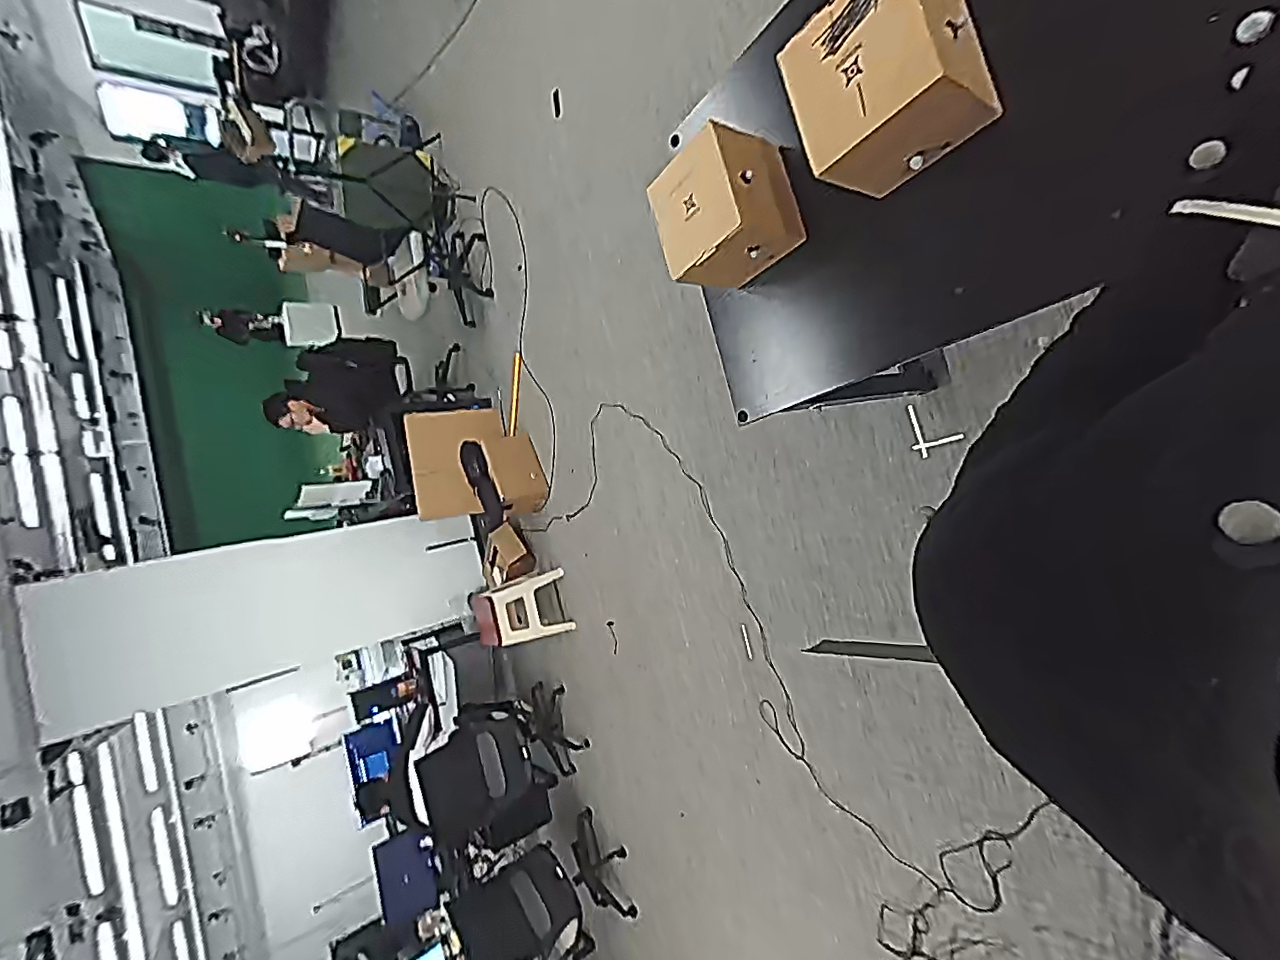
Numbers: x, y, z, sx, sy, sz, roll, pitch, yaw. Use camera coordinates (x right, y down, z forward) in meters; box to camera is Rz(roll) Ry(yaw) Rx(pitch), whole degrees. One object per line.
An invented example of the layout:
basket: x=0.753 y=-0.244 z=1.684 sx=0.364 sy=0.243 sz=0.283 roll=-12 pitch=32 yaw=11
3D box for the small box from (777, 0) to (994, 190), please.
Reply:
small box: x=0.307 y=-0.502 z=0.681 sx=0.168 sy=0.176 sz=0.179 roll=-21 pitch=83 yaw=53

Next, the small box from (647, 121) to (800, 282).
small box: x=0.142 y=-0.451 z=0.911 sx=0.168 sy=0.176 sz=0.179 roll=-23 pitch=80 yaw=51
